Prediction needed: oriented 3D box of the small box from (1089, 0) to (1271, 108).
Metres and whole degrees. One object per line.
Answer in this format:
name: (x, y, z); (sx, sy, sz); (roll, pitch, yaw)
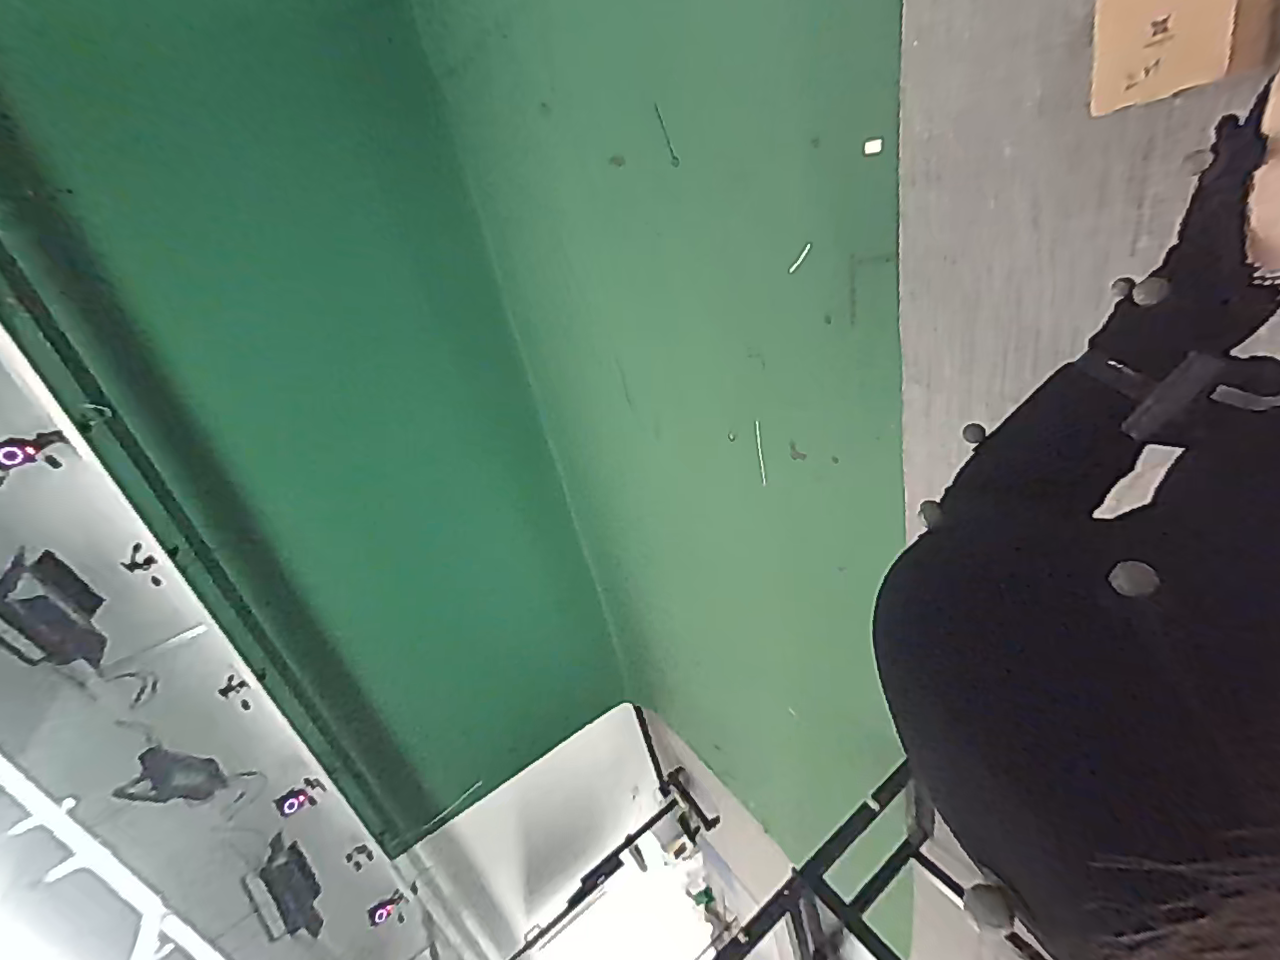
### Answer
small box: (0.844, -0.716, 0.846); (0.168, 0.176, 0.179); (21, 131, 56)
